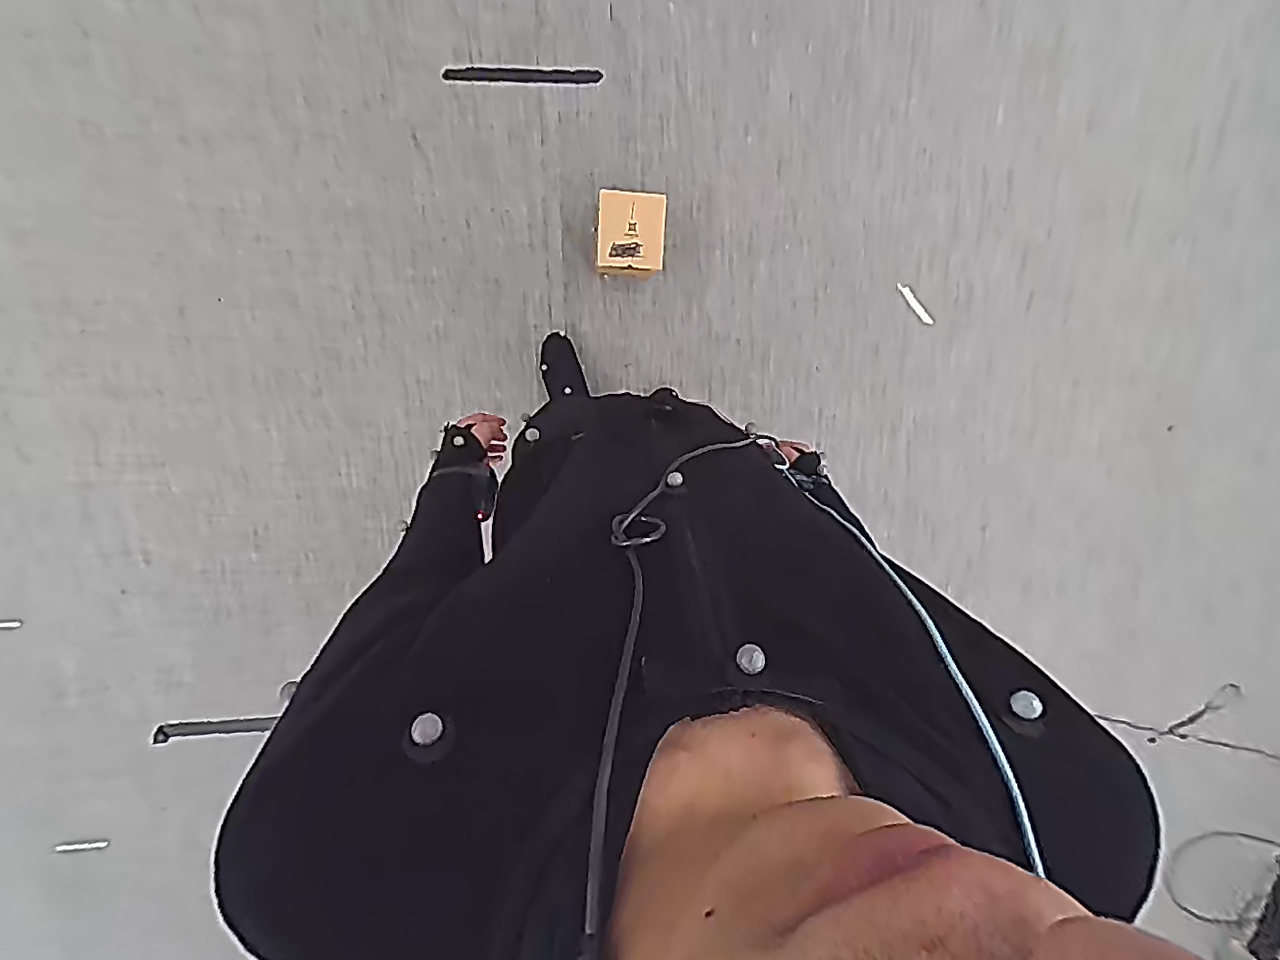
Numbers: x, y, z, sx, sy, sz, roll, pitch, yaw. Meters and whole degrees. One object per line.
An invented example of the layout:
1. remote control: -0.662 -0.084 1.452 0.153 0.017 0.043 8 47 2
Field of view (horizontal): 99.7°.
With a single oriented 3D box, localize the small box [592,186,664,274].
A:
1. small box: -0.036 -0.633 1.391 0.168 0.176 0.179 1 104 -8
